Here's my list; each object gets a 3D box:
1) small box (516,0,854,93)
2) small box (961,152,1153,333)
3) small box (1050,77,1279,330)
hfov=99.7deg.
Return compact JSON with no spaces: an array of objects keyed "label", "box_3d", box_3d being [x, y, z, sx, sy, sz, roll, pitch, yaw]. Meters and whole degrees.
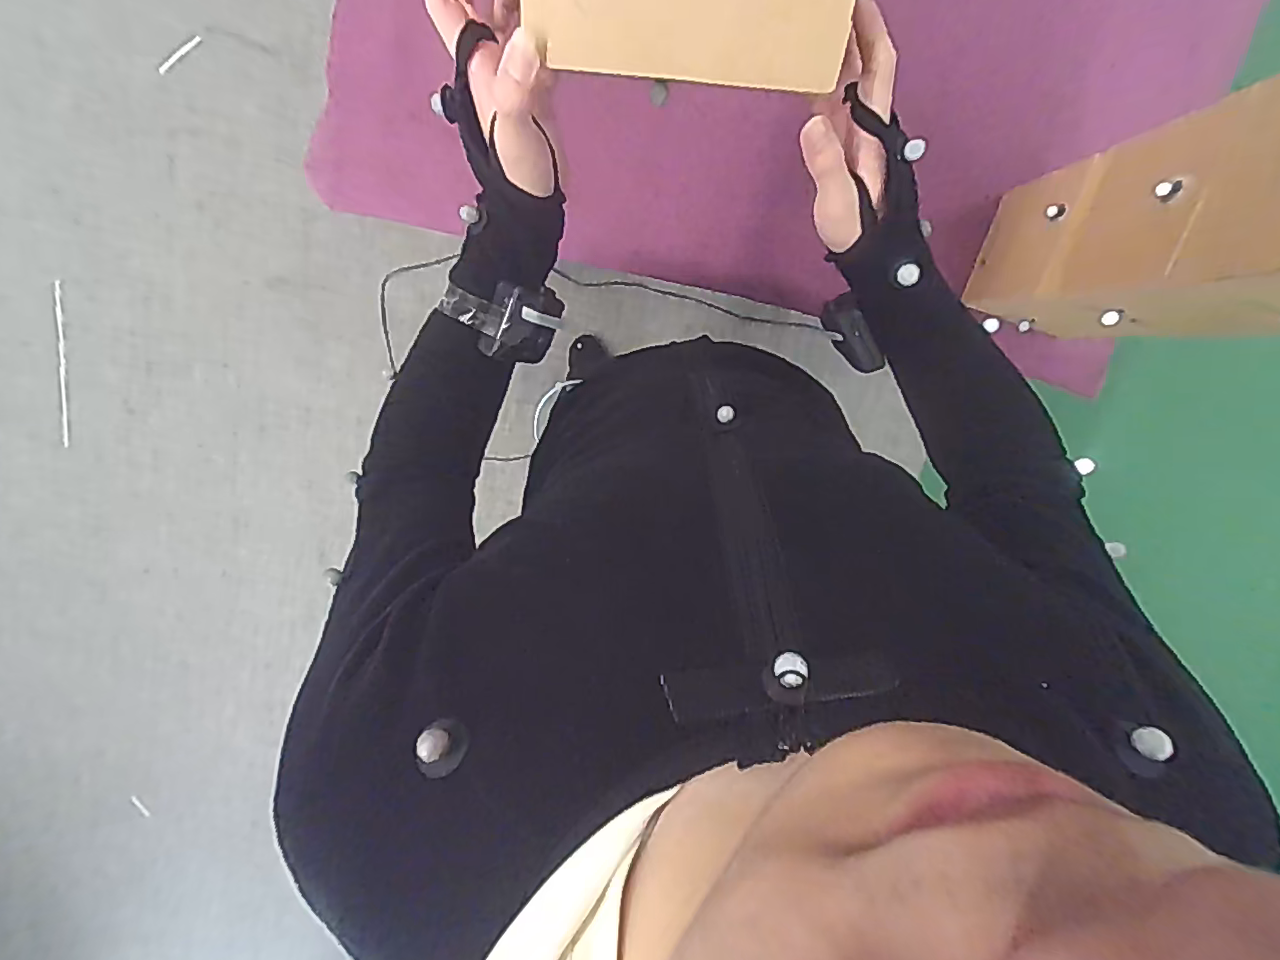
[{"label":"small box","box_3d":[0.030,-0.336,0.308,0.179,0.176,0.168,4,131,-2]},{"label":"small box","box_3d":[0.589,-0.305,0.732,0.179,0.176,0.168,16,103,-4]},{"label":"small box","box_3d":[0.593,-0.269,0.573,0.168,0.176,0.179,16,104,-3]}]
